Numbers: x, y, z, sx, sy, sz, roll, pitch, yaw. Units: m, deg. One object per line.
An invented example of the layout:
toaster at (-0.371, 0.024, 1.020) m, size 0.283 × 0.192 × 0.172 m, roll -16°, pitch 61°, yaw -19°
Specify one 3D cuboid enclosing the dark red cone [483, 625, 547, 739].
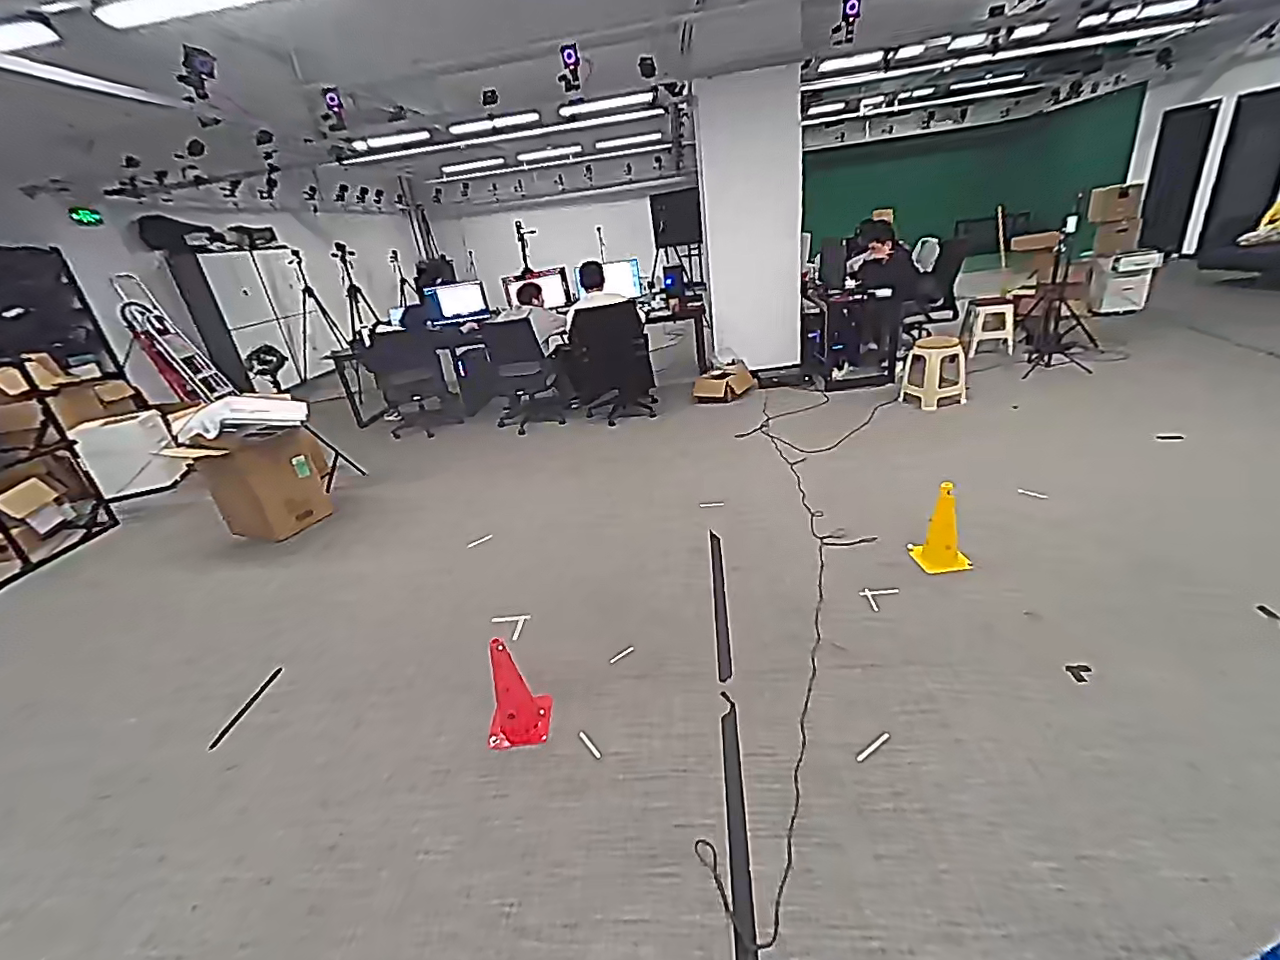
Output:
dark red cone at (-0.434, 0.637, 1.749) m, size 0.201 × 0.394 × 0.202 m, roll -7°, pitch 25°, yaw 0°
